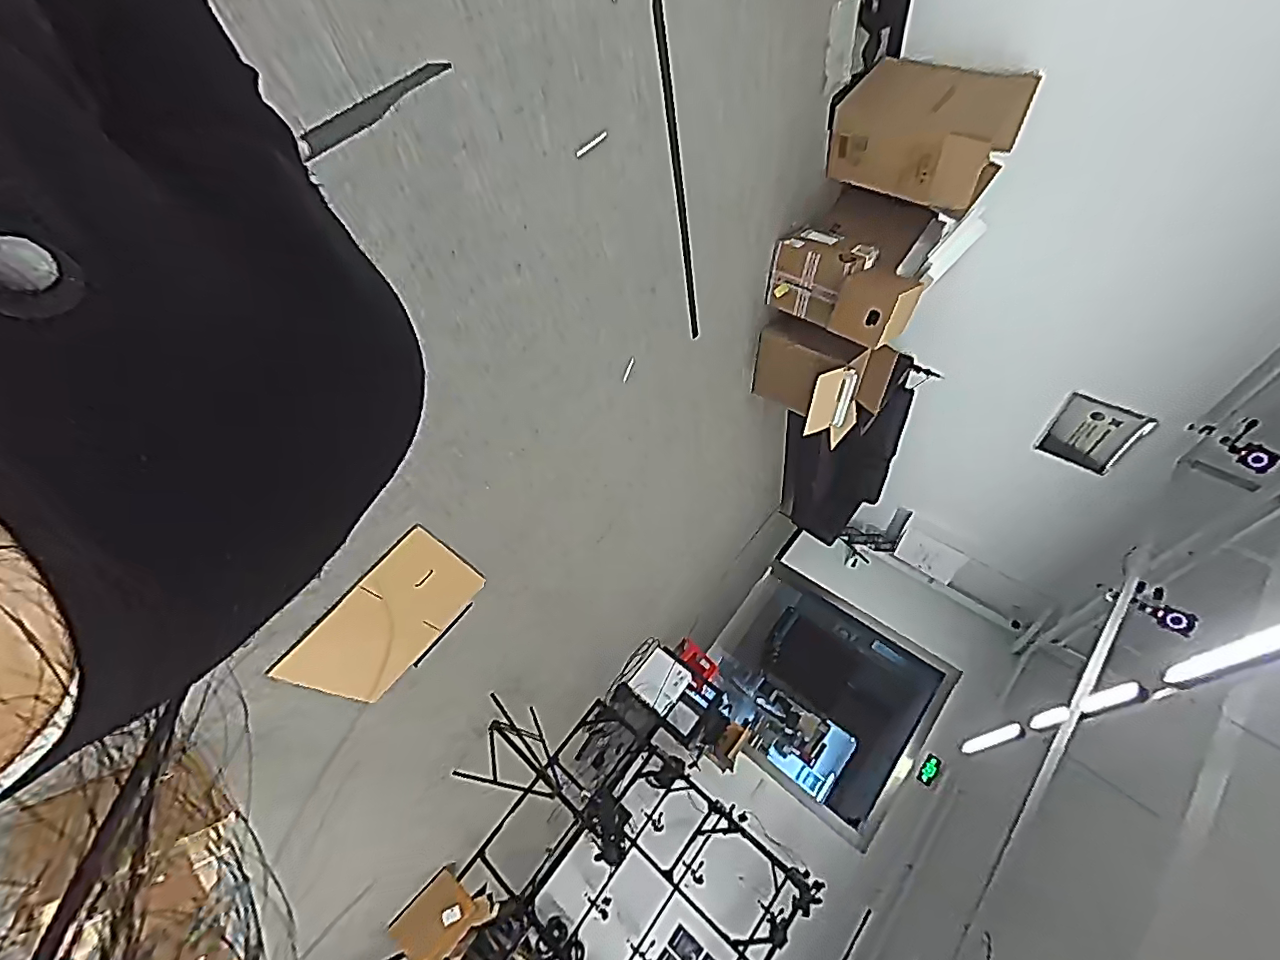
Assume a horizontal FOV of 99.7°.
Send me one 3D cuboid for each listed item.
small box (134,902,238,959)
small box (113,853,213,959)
[{"bbox_3d":[-1.182,1.260,1.400,0.168,0.176,0.179,-6,124,-57],"label":"small box"},{"bbox_3d":[-1.304,1.181,1.475,0.168,0.176,0.179,-6,123,-56],"label":"small box"}]
